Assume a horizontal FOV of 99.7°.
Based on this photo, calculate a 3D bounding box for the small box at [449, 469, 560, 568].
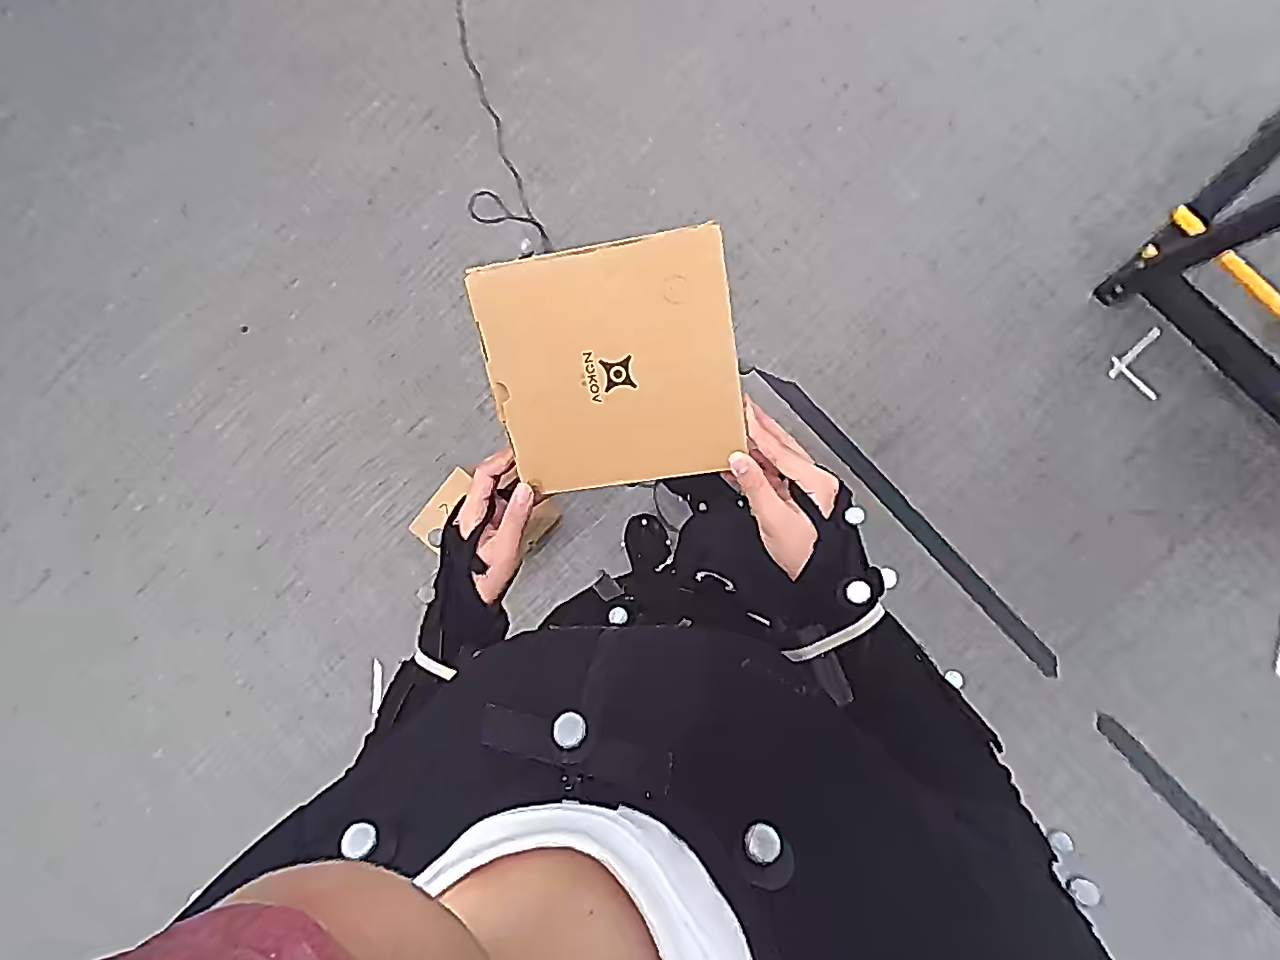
[{"bbox_3d":[-0.320,0.087,1.321,0.179,0.176,0.168,45,93,4],"label":"small box"}]

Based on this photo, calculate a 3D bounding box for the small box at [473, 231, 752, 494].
[{"bbox_3d":[-0.007,-0.103,0.450,0.179,0.176,0.168,-6,110,10],"label":"small box"}]
